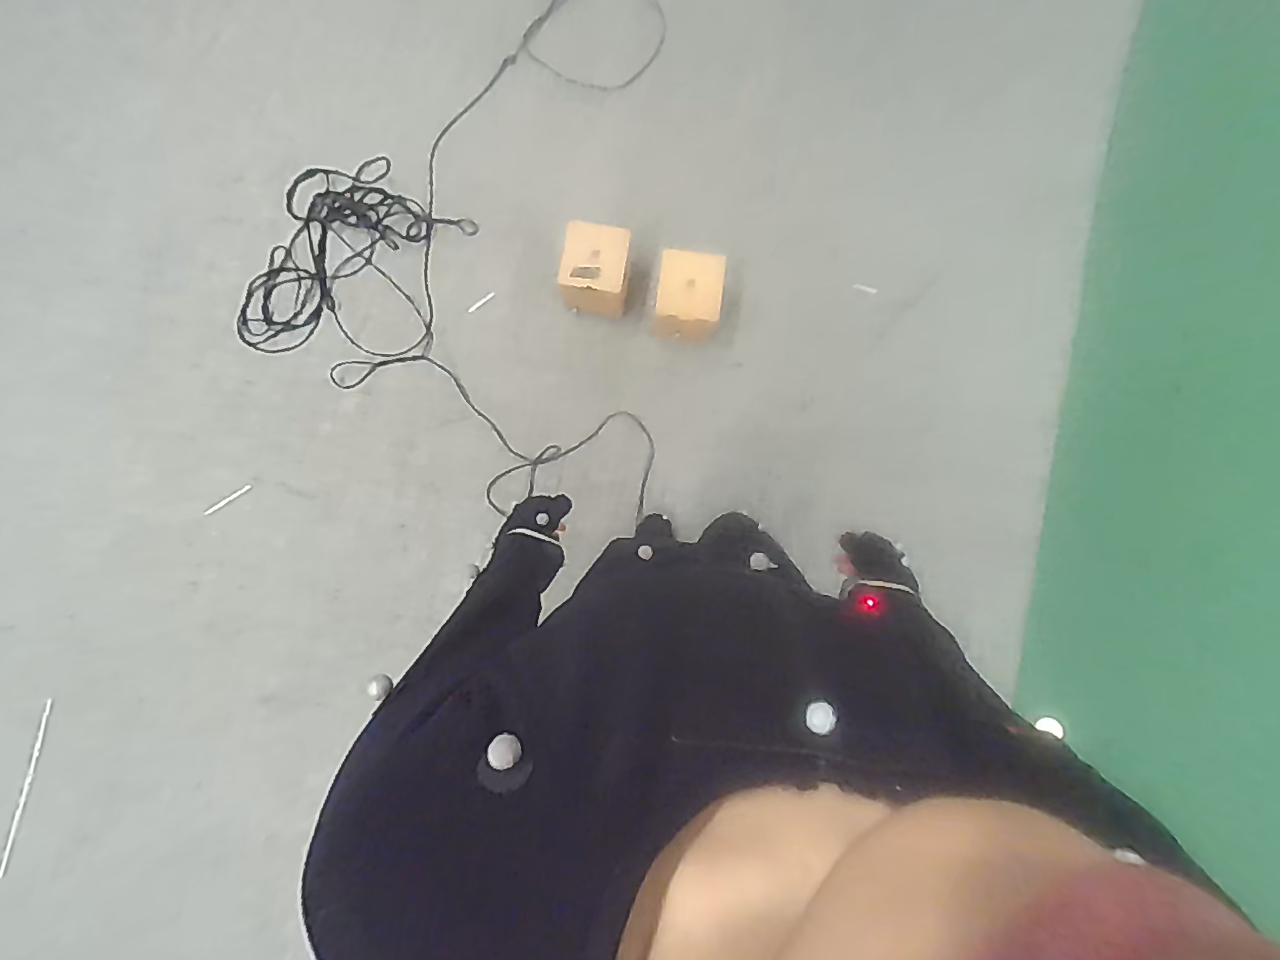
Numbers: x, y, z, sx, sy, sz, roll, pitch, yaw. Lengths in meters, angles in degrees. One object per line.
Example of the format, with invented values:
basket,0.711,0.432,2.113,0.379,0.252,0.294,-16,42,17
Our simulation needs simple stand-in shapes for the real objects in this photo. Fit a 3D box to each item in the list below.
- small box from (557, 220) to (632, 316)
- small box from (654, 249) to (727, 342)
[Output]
small box,-0.115,-0.560,1.451,0.168,0.176,0.179,10,85,0
small box,0.130,-0.488,1.449,0.168,0.176,0.179,7,87,0
